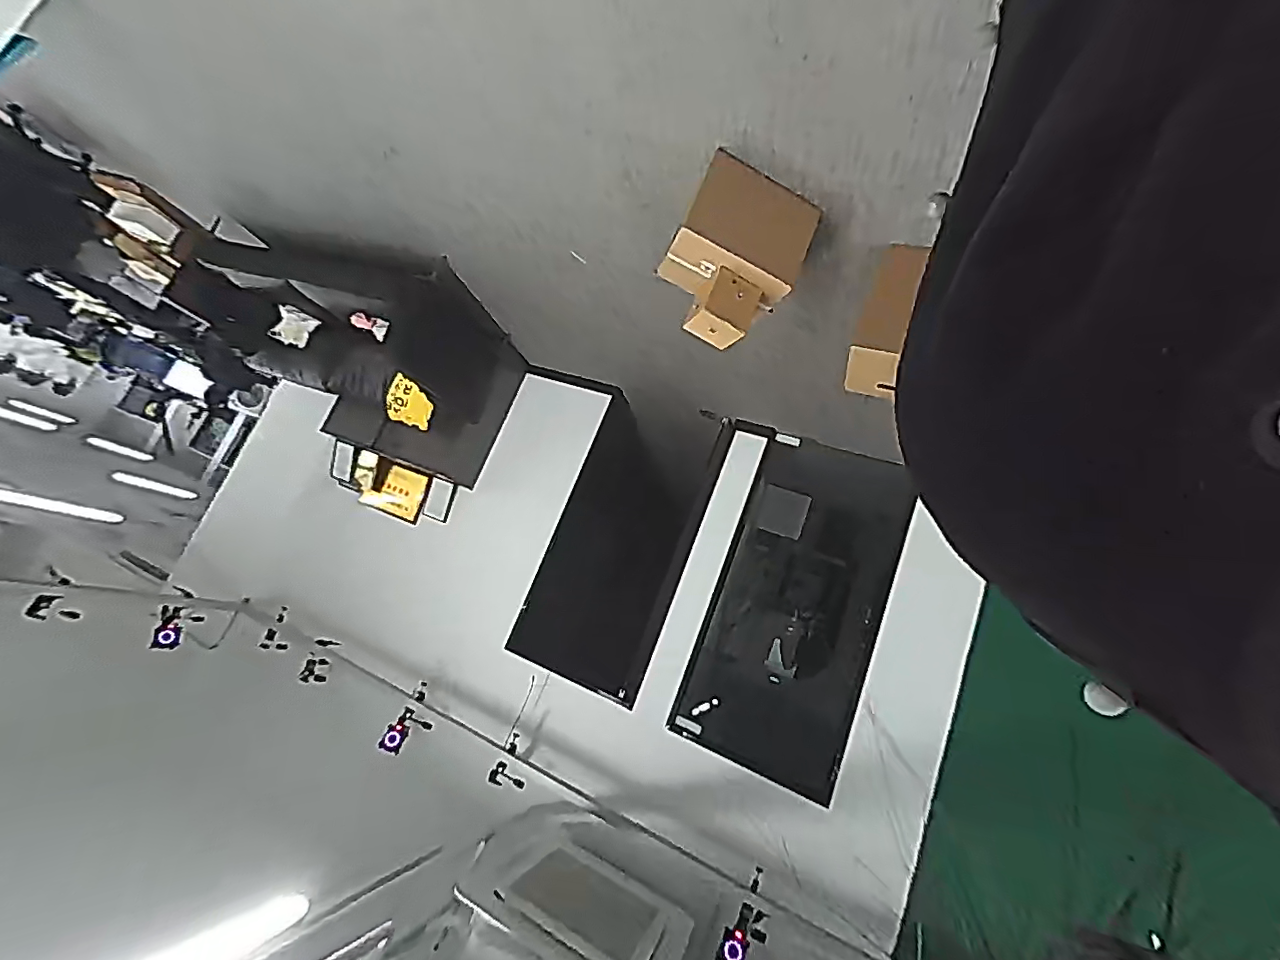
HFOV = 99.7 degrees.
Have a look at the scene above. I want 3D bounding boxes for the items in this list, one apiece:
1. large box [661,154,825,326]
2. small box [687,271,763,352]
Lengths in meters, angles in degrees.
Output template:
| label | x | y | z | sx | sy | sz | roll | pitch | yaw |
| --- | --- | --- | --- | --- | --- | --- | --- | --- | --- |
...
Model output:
| label | x | y | z | sx | sy | sz | roll | pitch | yaw |
| --- | --- | --- | --- | --- | --- | --- | --- | --- | --- |
| large box | 0.343 | -0.803 | 1.851 | 0.408 | 0.320 | 0.320 | 26 | 168 | -9 |
| small box | 0.288 | -0.564 | 1.819 | 0.168 | 0.176 | 0.179 | 26 | 169 | -14 |
